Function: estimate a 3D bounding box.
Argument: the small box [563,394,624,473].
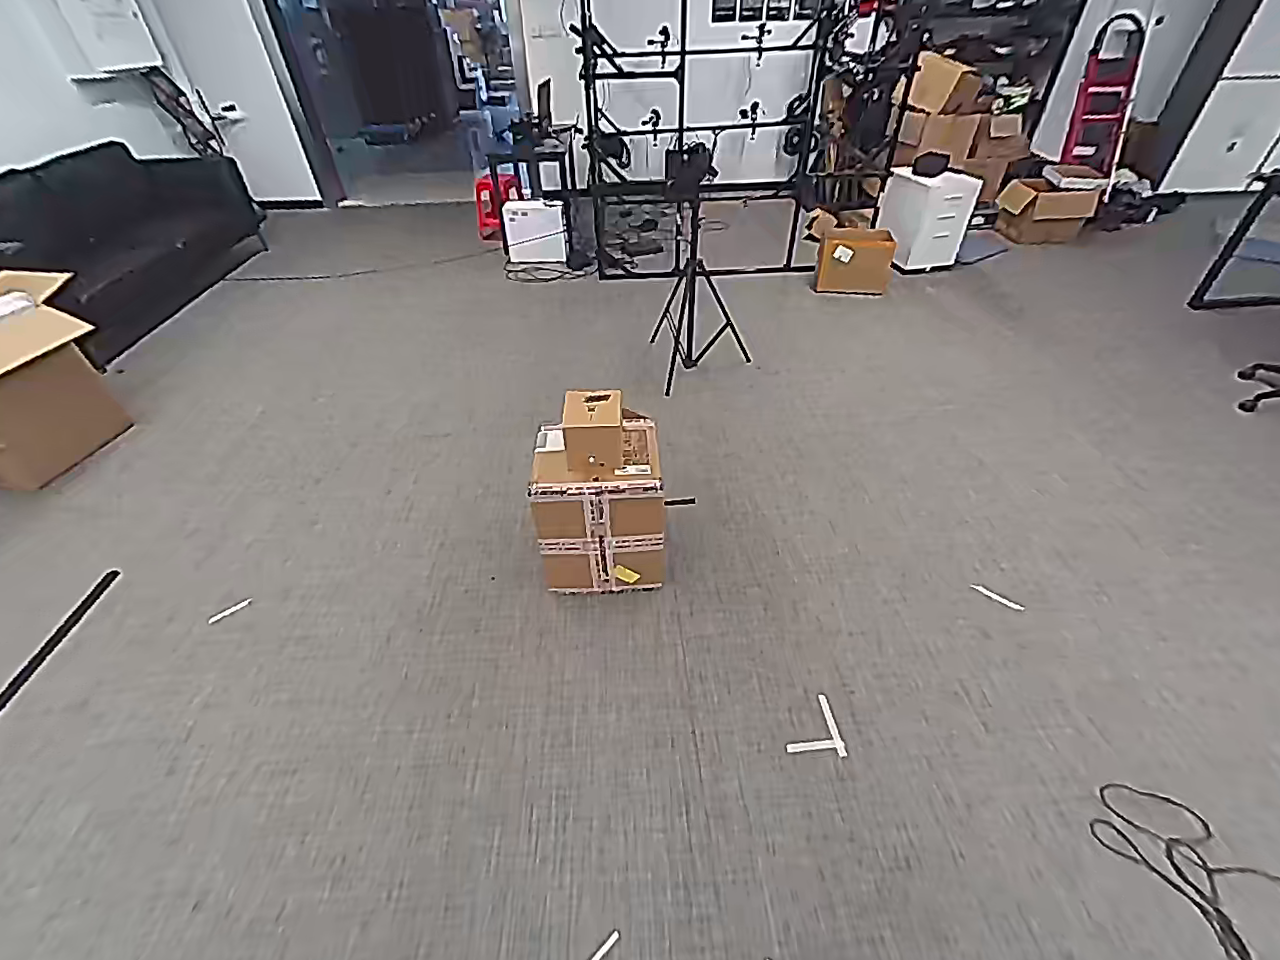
[{"bbox_3d":[-0.136,-0.140,1.626,0.168,0.176,0.179,-2,44,0],"label":"small box"}]
